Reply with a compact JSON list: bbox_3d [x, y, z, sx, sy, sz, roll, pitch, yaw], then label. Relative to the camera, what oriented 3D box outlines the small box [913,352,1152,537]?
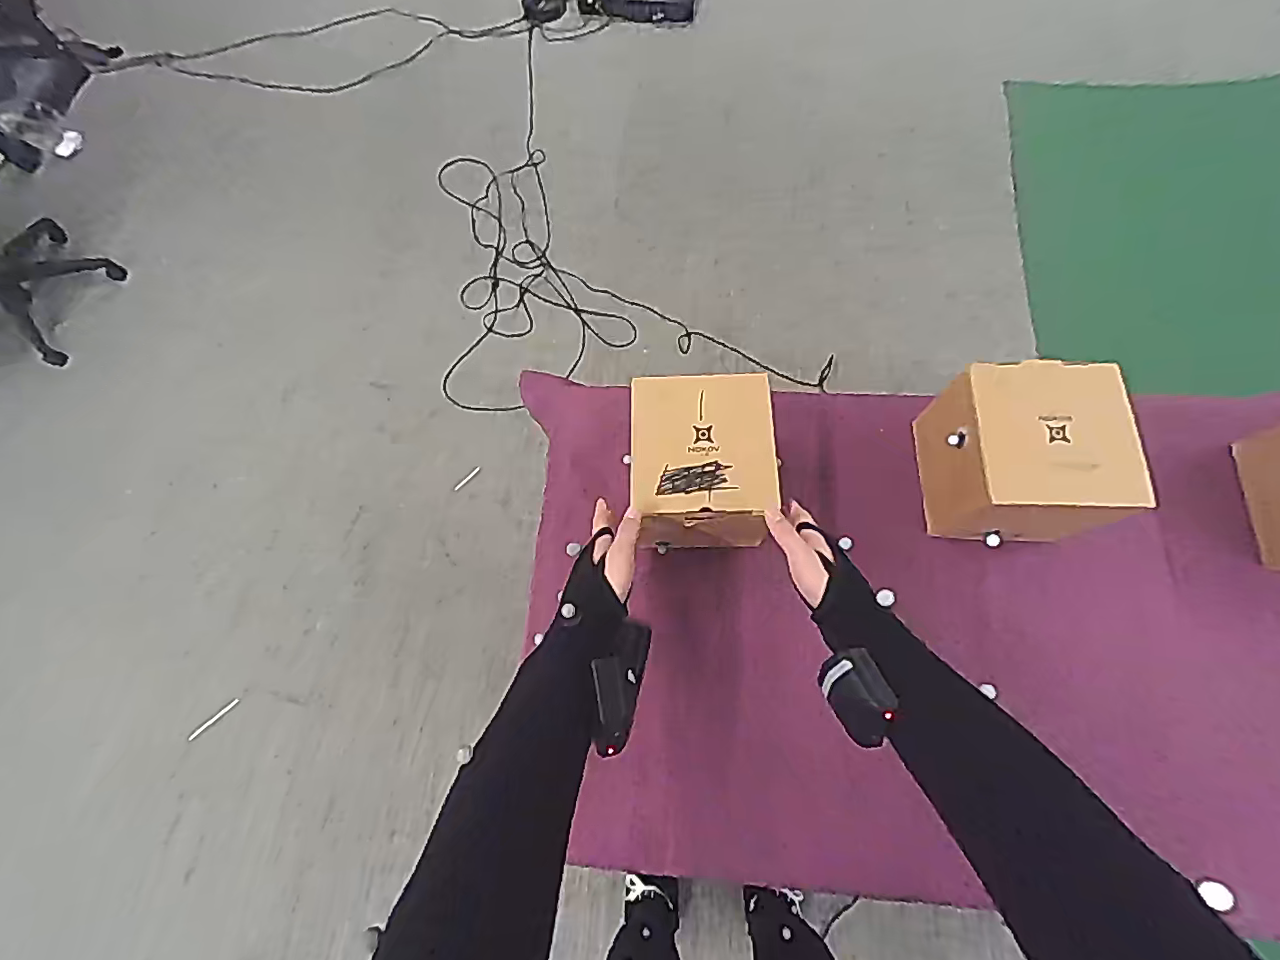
[{"bbox_3d":[0.456,-0.037,0.665,0.168,0.176,0.179,1,71,6],"label":"small box"}]

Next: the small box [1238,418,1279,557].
[{"bbox_3d":[0.864,-0.002,0.620,0.168,0.176,0.179,4,70,7],"label":"small box"}]

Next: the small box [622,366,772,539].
[{"bbox_3d":[0.068,-0.024,0.688,0.168,0.176,0.179,-1,69,3],"label":"small box"}]
